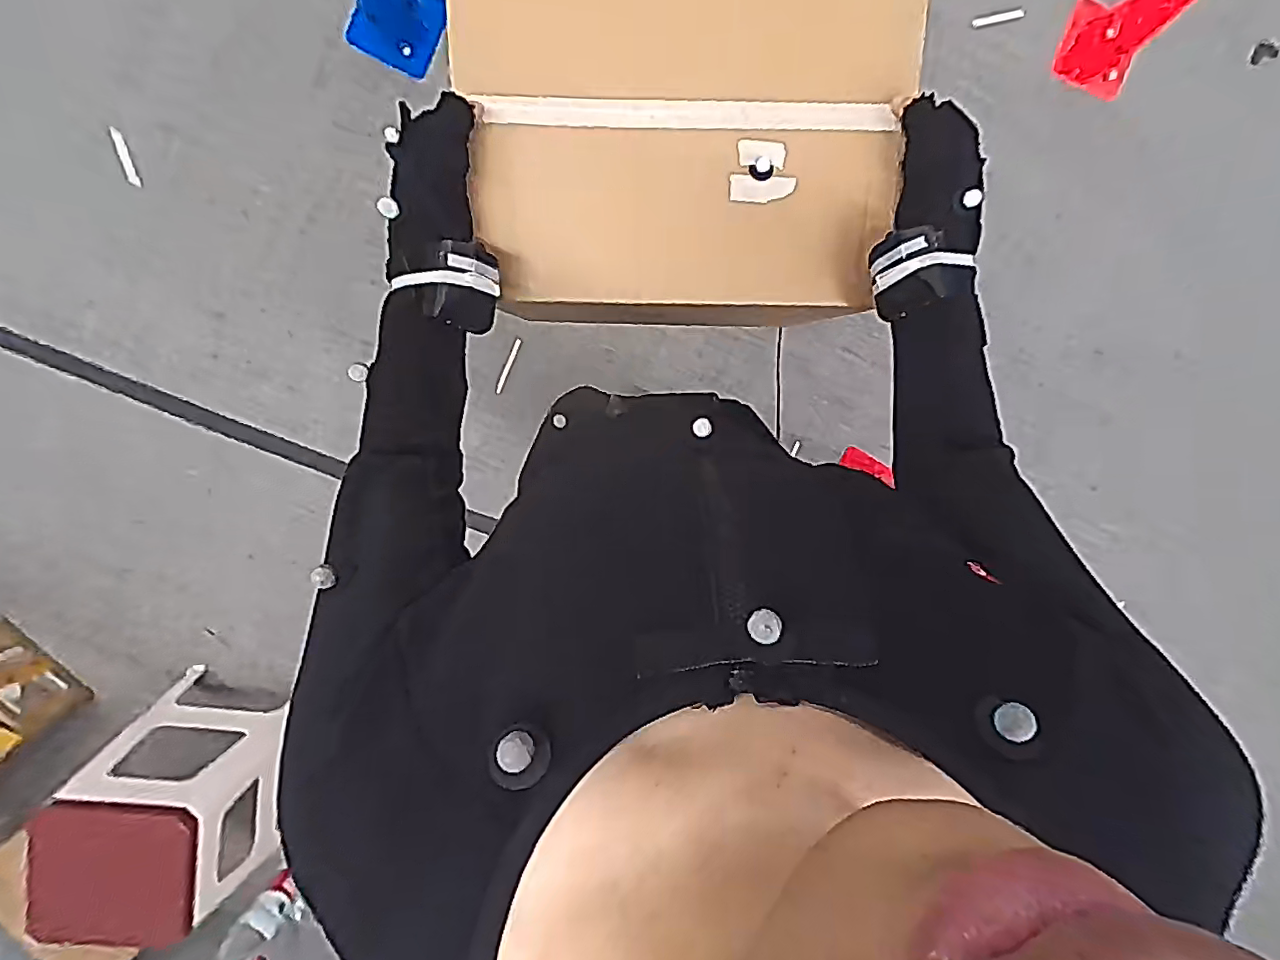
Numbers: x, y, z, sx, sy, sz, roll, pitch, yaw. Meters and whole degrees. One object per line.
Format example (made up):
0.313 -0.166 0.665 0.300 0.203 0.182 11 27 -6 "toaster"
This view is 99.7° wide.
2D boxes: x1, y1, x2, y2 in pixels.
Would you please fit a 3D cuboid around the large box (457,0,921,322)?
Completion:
0.037 -0.355 0.623 0.408 0.320 0.320 1 103 -2 "large box"

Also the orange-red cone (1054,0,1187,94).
1.201 -1.114 1.235 0.198 0.360 0.199 20 94 -7 "orange-red cone"

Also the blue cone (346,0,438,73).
-0.585 -1.078 1.135 0.192 0.380 0.193 26 95 -5 "blue cone"
